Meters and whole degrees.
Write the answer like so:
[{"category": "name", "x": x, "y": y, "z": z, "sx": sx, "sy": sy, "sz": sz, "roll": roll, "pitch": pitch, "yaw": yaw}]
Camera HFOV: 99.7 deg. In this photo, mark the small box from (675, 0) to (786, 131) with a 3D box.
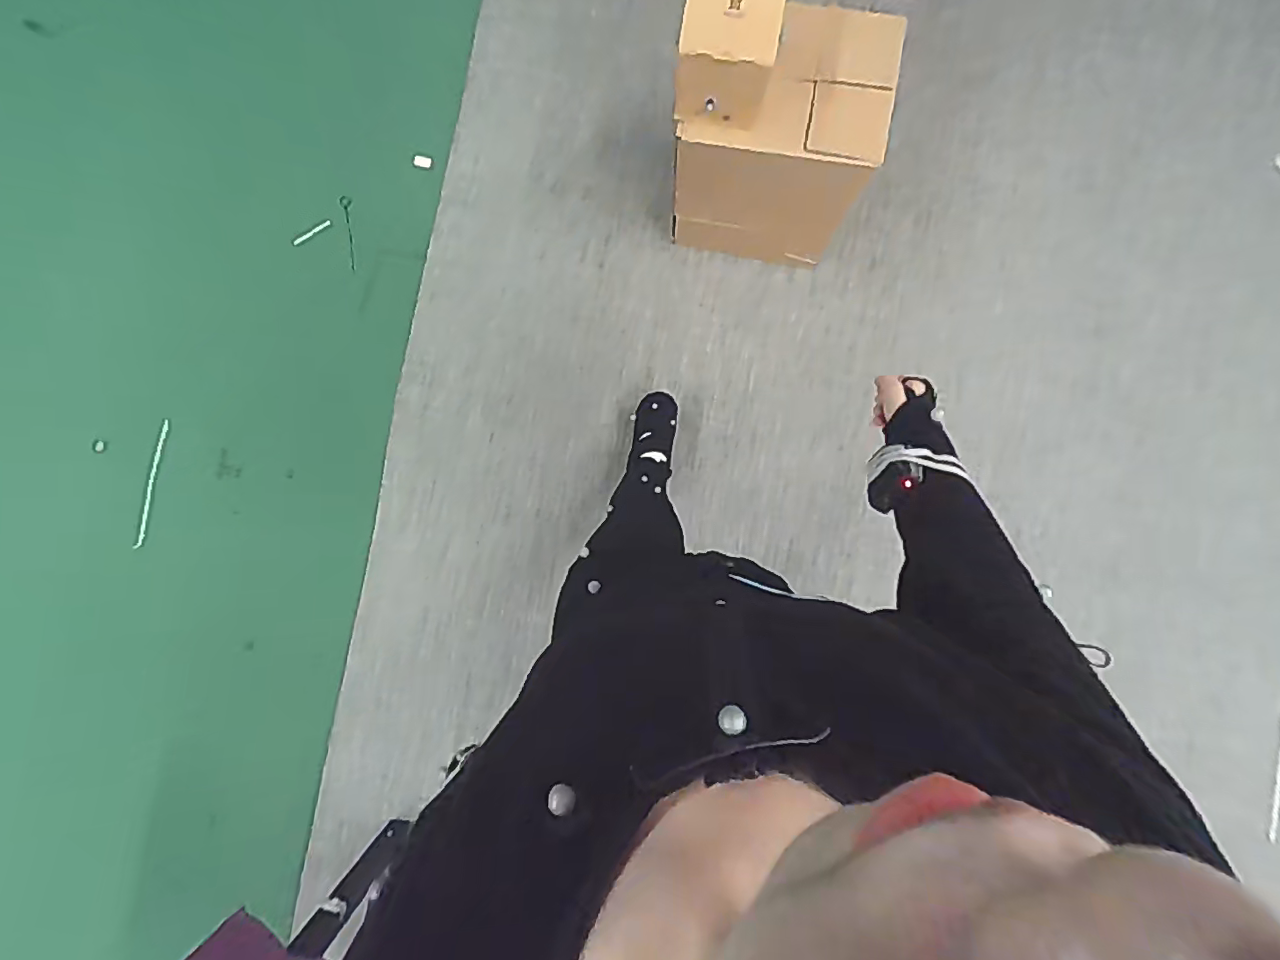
[{"category": "small box", "x": 0.158, "y": -0.781, "z": 0.978, "sx": 0.168, "sy": 0.176, "sz": 0.179, "roll": 9, "pitch": 91, "yaw": 1}]
